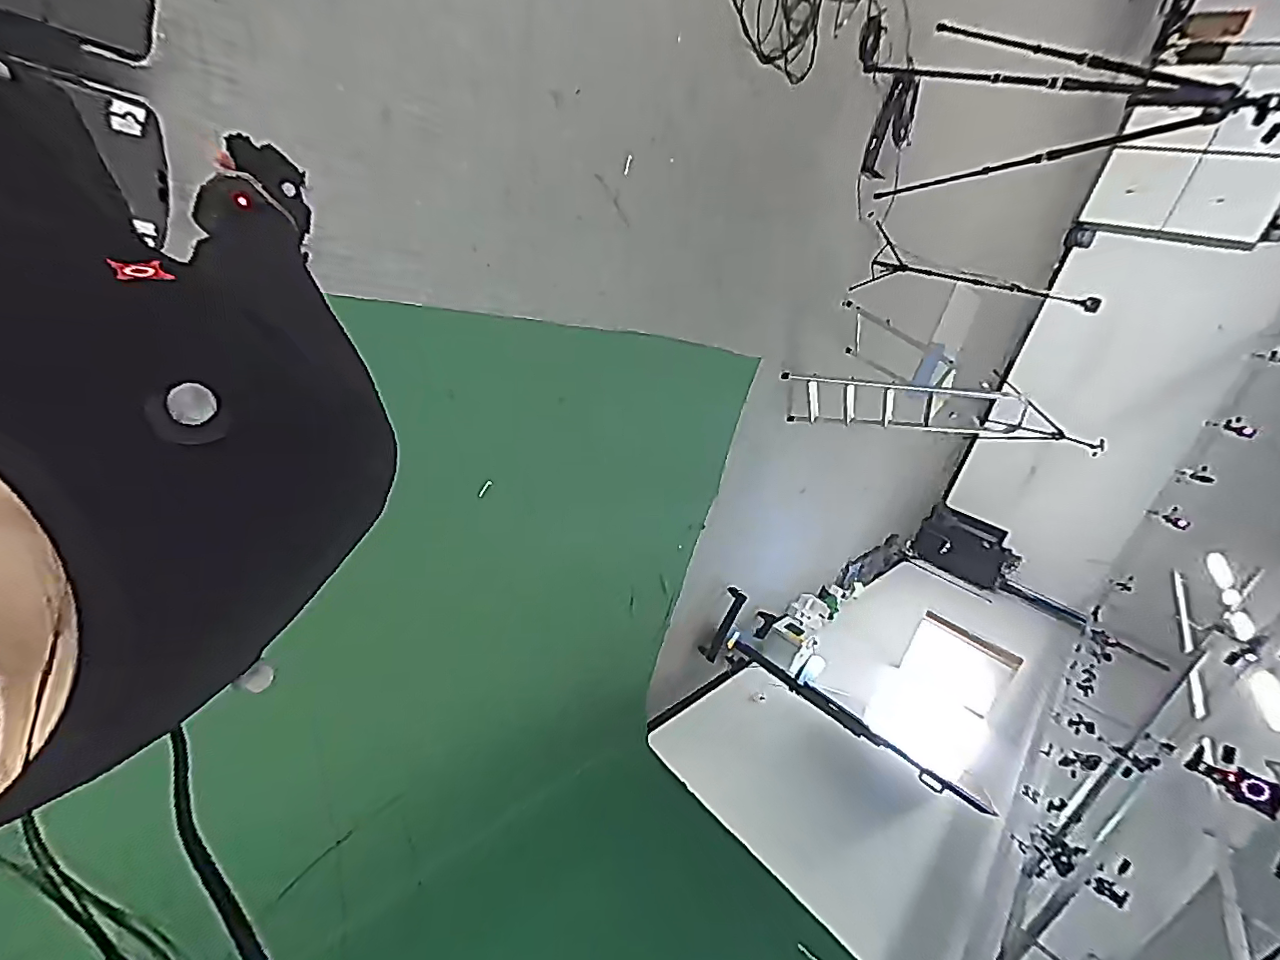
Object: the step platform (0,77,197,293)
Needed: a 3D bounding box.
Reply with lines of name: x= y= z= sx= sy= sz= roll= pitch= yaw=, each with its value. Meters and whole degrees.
step platform: x=-1.081 y=-0.470 z=0.761 sx=0.684 sy=0.204 sz=0.286 roll=-10 pitch=121 yaw=-49
